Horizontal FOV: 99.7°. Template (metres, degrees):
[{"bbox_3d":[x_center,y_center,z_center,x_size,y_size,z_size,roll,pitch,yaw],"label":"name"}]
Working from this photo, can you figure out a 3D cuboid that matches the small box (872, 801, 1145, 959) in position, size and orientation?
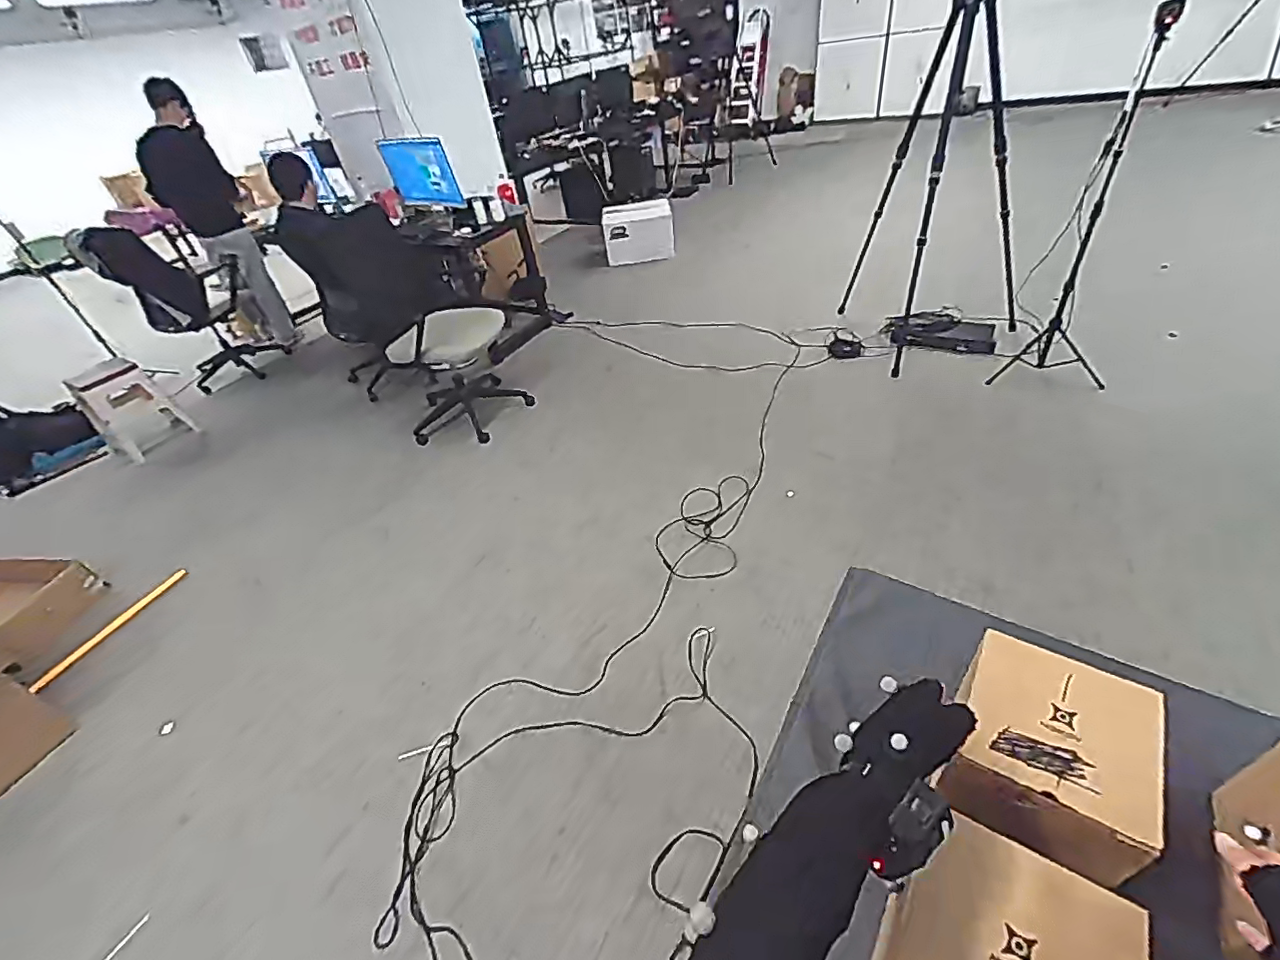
[{"bbox_3d":[0.312,0.443,0.486,0.168,0.176,0.179,18,48,31],"label":"small box"}]

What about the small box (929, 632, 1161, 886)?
[{"bbox_3d":[0.446,0.318,0.614,0.168,0.176,0.179,20,47,31],"label":"small box"}]
